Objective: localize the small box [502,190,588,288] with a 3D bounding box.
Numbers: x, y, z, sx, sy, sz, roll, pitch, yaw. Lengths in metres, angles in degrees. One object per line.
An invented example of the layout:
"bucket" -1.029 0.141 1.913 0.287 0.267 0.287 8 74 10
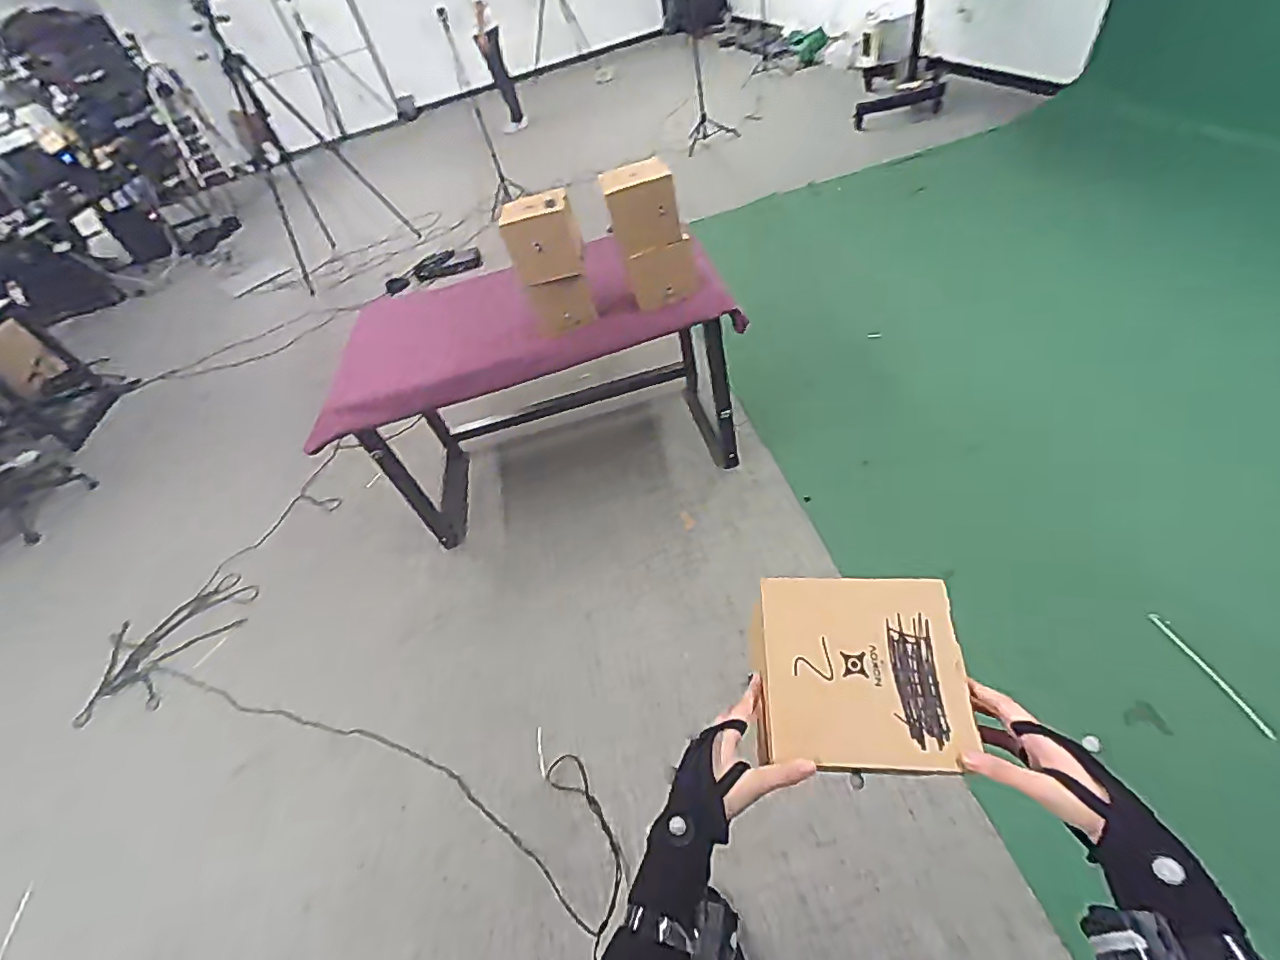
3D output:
"small box" -0.244 -0.640 1.441 0.179 0.176 0.168 -12 44 8

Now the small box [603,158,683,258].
"small box" 0.012 -0.722 1.440 0.179 0.176 0.168 -16 45 3

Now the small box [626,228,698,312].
"small box" 0.061 -0.611 1.550 0.179 0.176 0.168 -20 45 -1

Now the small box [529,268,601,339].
"small box" -0.227 -0.540 1.573 0.168 0.176 0.179 -22 45 -3
